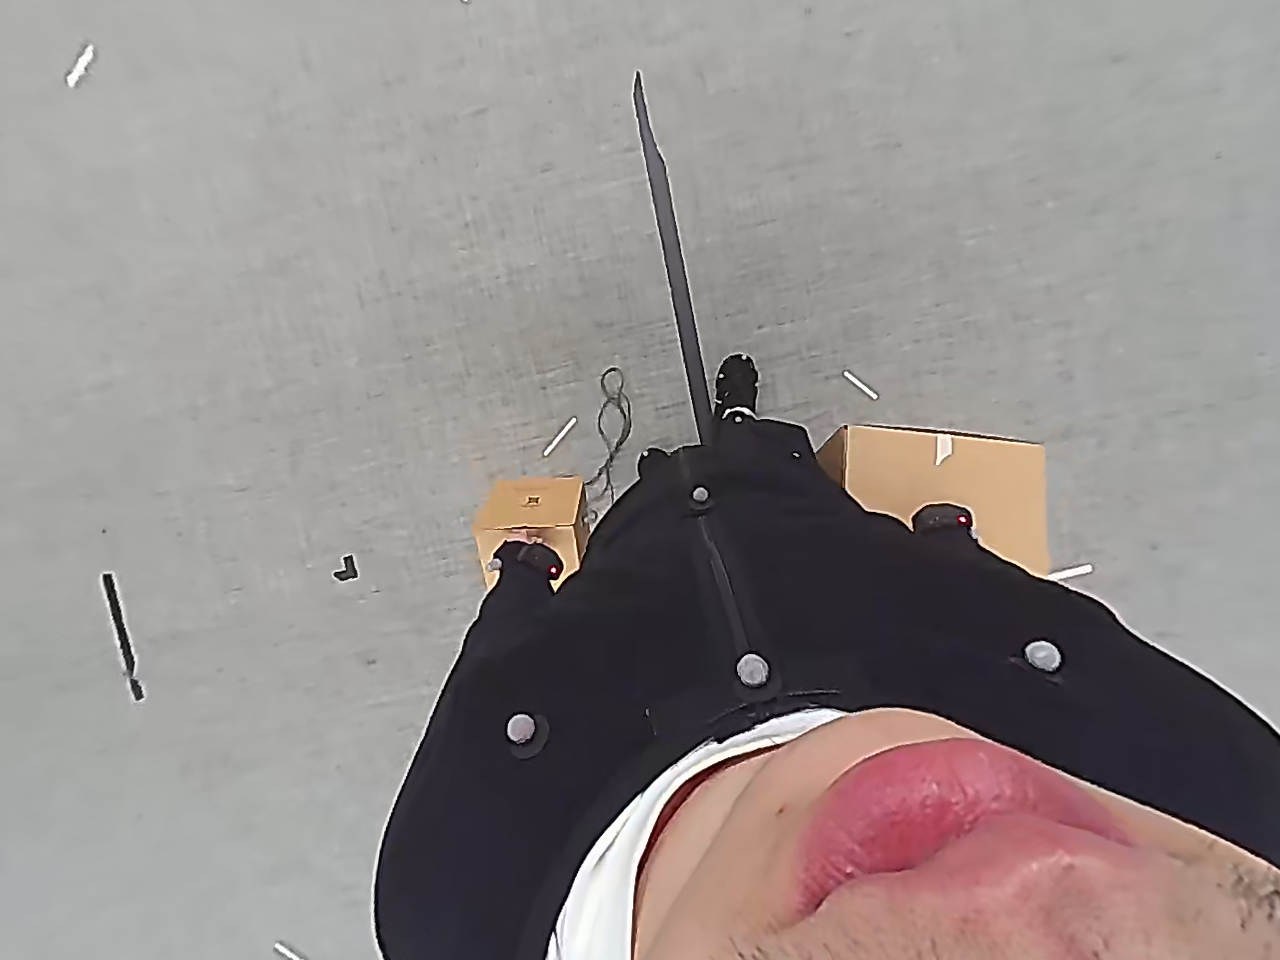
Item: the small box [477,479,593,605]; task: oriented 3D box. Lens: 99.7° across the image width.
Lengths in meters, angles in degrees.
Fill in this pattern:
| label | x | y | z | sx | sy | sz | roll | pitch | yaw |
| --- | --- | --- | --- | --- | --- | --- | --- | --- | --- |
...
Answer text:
| label | x | y | z | sx | sy | sz | roll | pitch | yaw |
| --- | --- | --- | --- | --- | --- | --- | --- | --- | --- |
| small box | -0.180 | 0.114 | 0.988 | 0.168 | 0.179 | 0.176 | -2 | 117 | 2 |
